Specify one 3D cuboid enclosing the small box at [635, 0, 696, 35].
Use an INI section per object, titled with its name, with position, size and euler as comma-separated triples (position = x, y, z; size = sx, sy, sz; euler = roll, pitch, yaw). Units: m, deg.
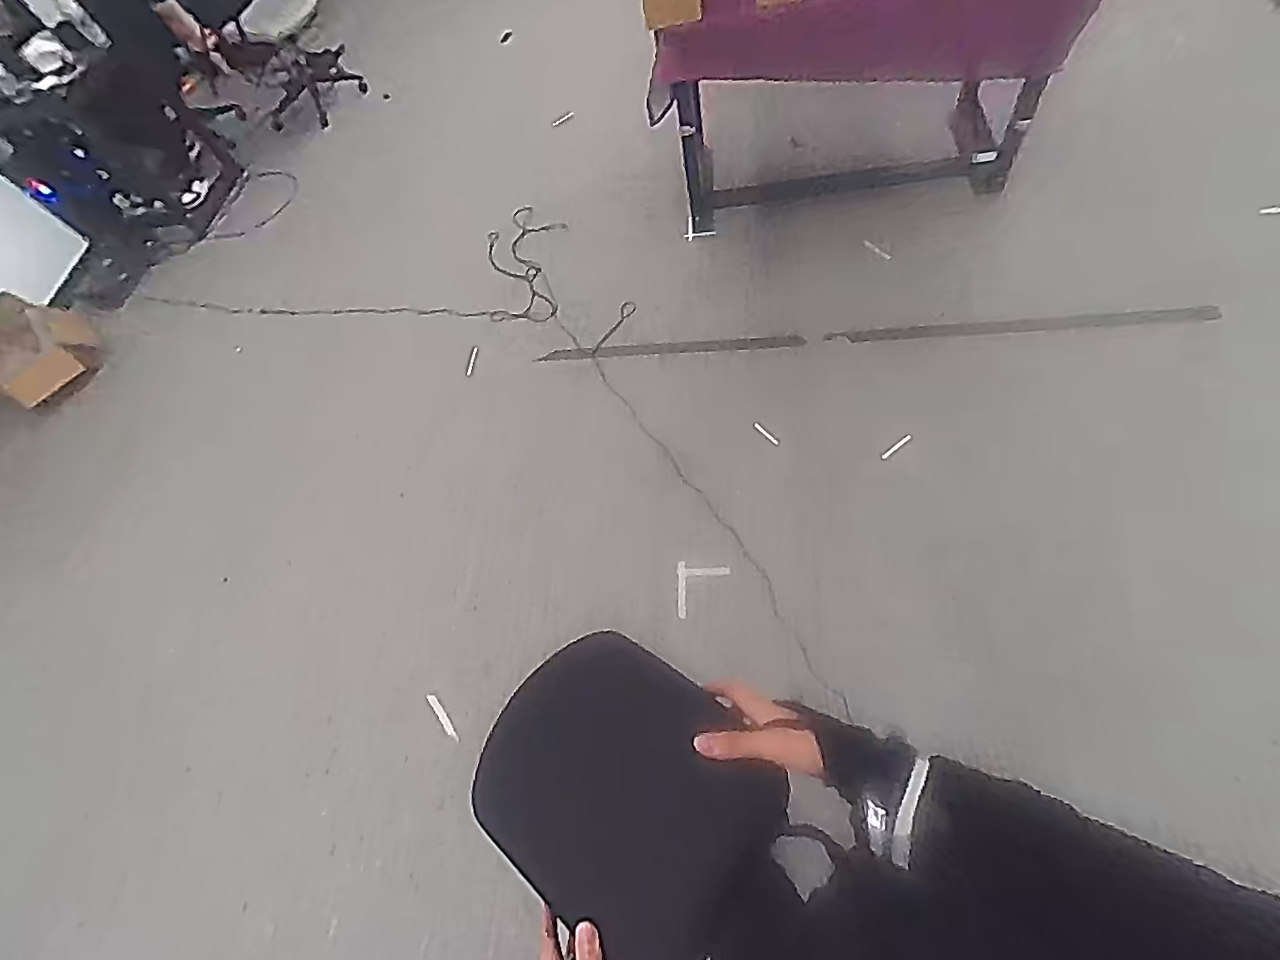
[small box]
position = 0.072, -1.476, 1.618
size = 0.179, 0.176, 0.168
euler = -5, 62, 9
